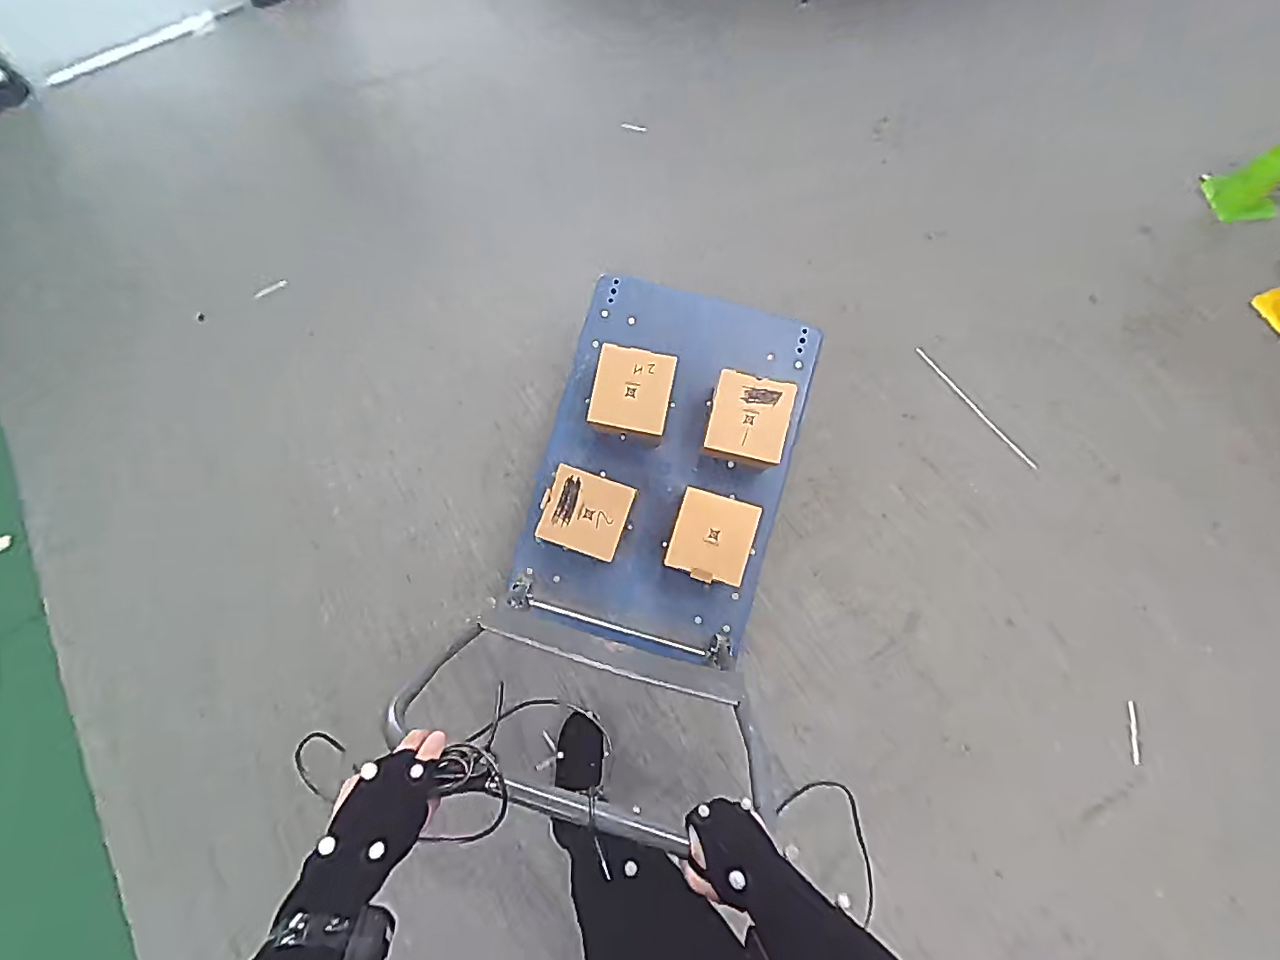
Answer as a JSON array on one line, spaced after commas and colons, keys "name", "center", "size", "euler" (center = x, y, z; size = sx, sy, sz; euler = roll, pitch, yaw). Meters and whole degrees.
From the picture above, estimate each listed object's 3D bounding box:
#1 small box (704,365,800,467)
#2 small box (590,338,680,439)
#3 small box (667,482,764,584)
[{"name": "small box", "center": [0.243, -0.137, 1.218], "size": [0.168, 0.176, 0.179], "euler": [14, 88, 4]}, {"name": "small box", "center": [-0.007, -0.199, 1.233], "size": [0.168, 0.176, 0.179], "euler": [13, 87, 3]}, {"name": "small box", "center": [0.160, 0.114, 1.208], "size": [0.168, 0.176, 0.179], "euler": [17, 88, 4]}]
